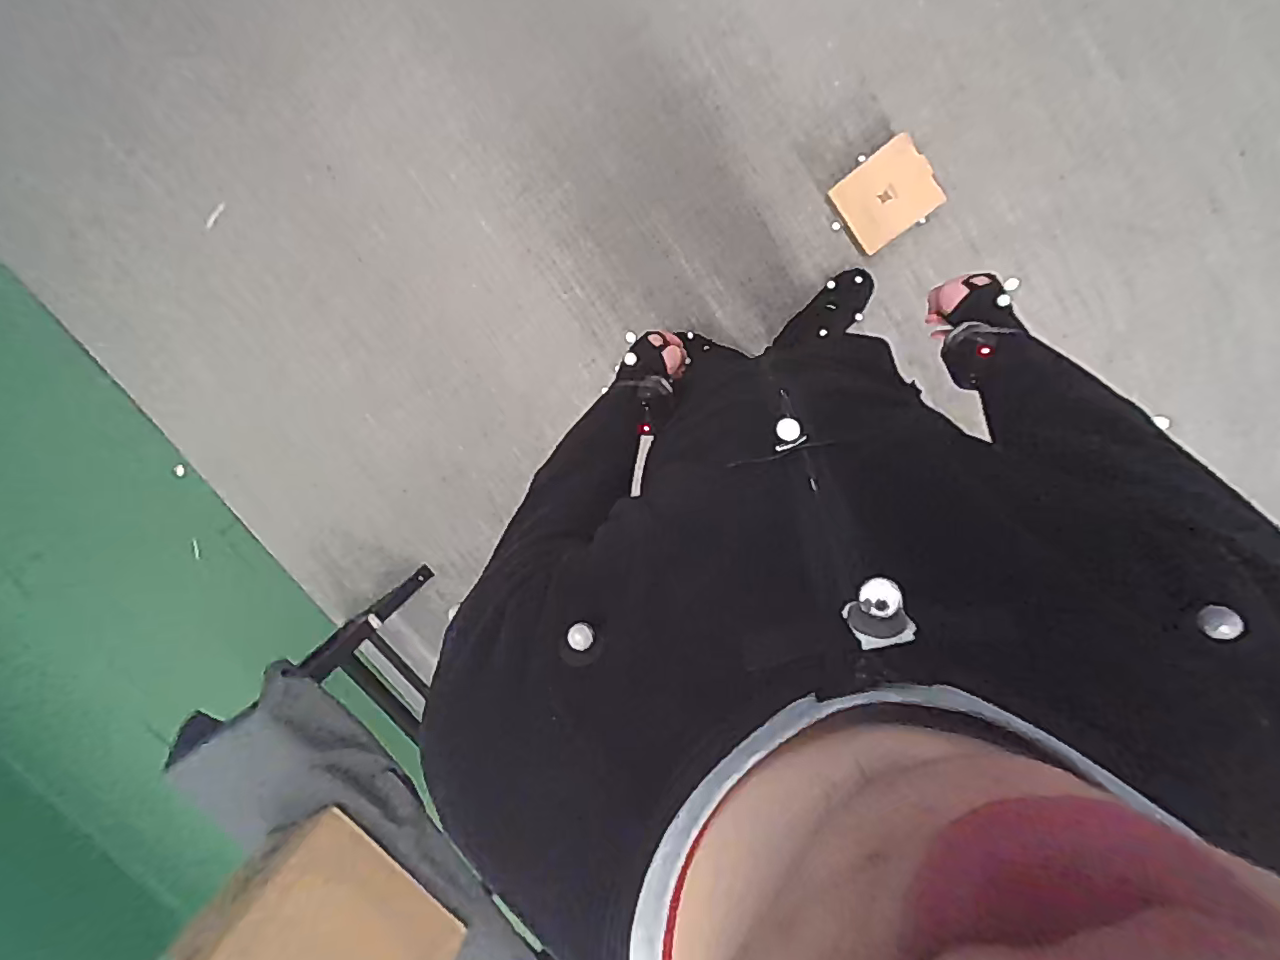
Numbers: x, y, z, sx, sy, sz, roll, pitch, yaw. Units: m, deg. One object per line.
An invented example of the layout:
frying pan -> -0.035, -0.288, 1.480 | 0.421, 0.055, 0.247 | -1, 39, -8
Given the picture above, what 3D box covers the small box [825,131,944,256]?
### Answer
small box -> 0.530, -0.624, 1.198 | 0.179, 0.176, 0.168 | -34, 99, 26
